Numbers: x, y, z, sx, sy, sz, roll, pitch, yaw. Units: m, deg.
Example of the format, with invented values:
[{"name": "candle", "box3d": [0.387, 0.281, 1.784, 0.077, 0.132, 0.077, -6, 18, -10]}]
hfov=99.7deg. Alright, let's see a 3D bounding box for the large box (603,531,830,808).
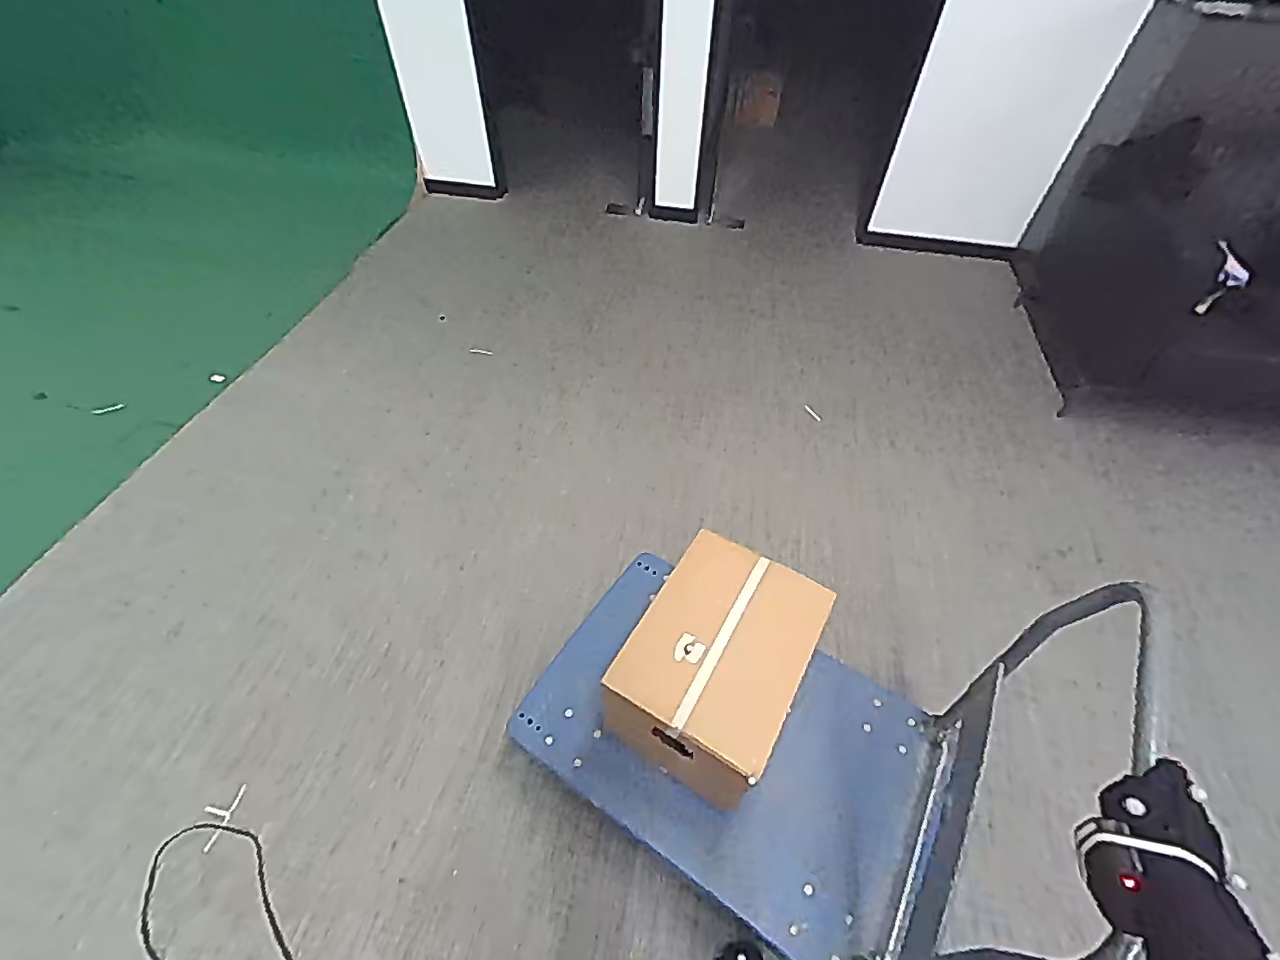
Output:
[{"name": "large box", "box3d": [0.157, 0.396, 1.154, 0.320, 0.320, 0.408, 25, 55, 19]}]
